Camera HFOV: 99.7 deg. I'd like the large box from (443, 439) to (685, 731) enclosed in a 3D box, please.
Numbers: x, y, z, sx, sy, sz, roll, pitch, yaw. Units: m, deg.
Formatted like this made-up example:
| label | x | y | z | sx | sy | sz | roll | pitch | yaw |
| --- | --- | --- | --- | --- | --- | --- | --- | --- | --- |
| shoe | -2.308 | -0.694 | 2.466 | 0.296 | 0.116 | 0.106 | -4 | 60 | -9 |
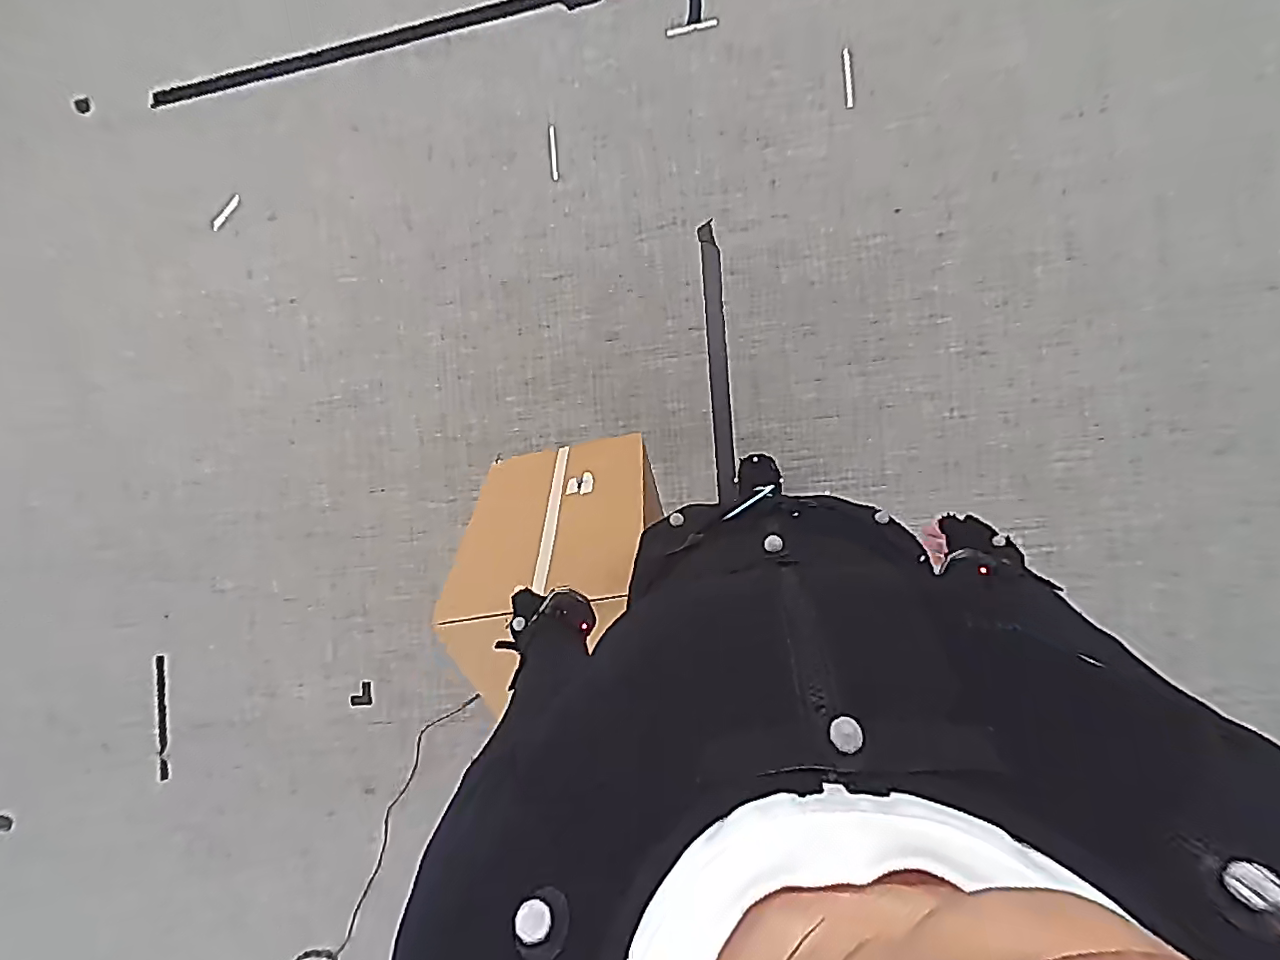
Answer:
| label | x | y | z | sx | sy | sz | roll | pitch | yaw |
| --- | --- | --- | --- | --- | --- | --- | --- | --- | --- |
| large box | -0.109 | 0.182 | 1.000 | 0.320 | 0.408 | 0.320 | -10 | 126 | 7 |
